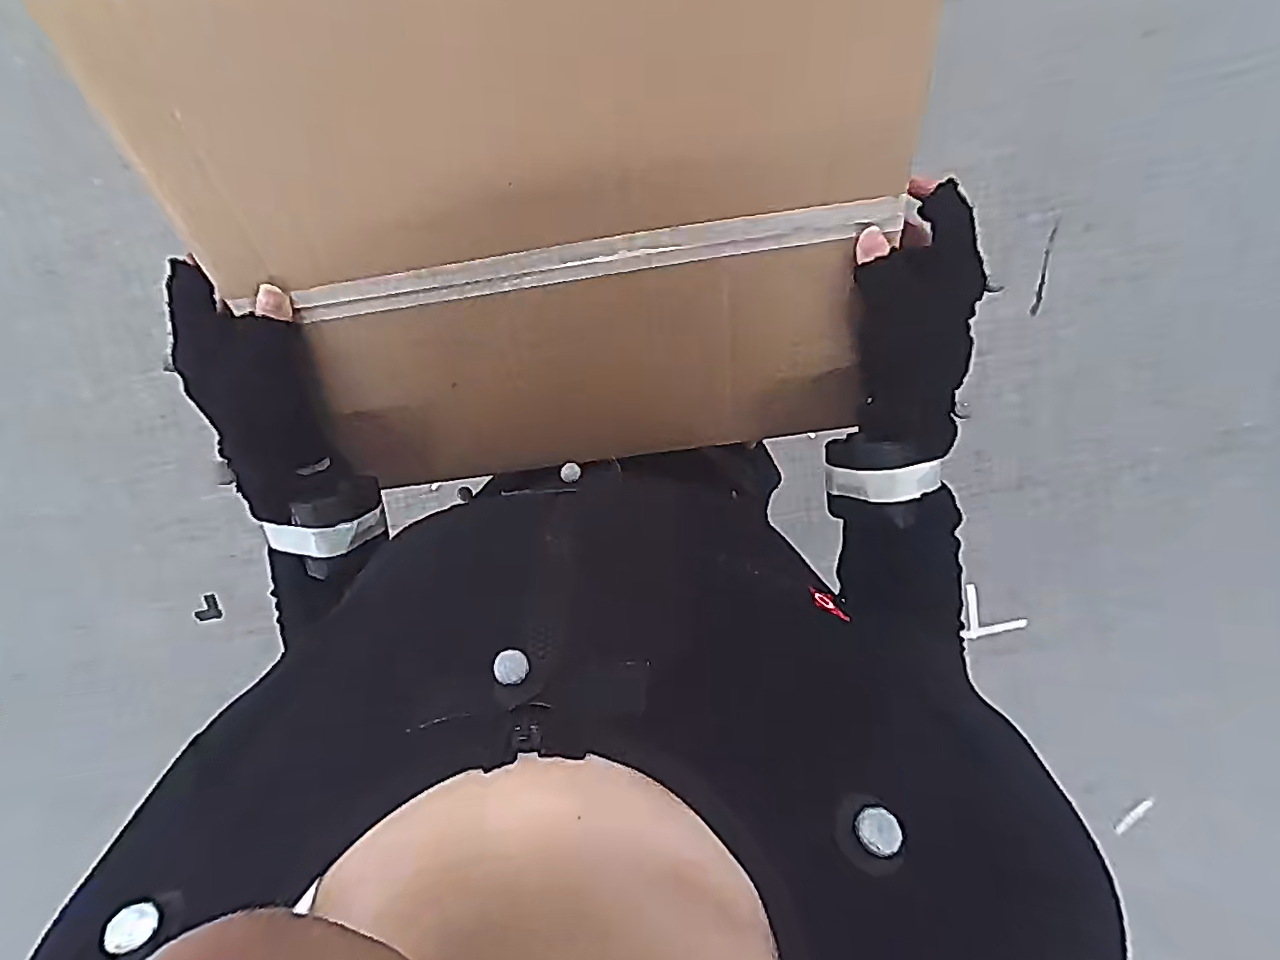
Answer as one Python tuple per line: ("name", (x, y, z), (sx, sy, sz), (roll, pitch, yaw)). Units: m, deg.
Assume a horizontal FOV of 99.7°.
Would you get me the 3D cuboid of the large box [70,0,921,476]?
("large box", (-0.057, -0.241, 0.443), (0.408, 0.320, 0.320), (-8, 134, 3))
